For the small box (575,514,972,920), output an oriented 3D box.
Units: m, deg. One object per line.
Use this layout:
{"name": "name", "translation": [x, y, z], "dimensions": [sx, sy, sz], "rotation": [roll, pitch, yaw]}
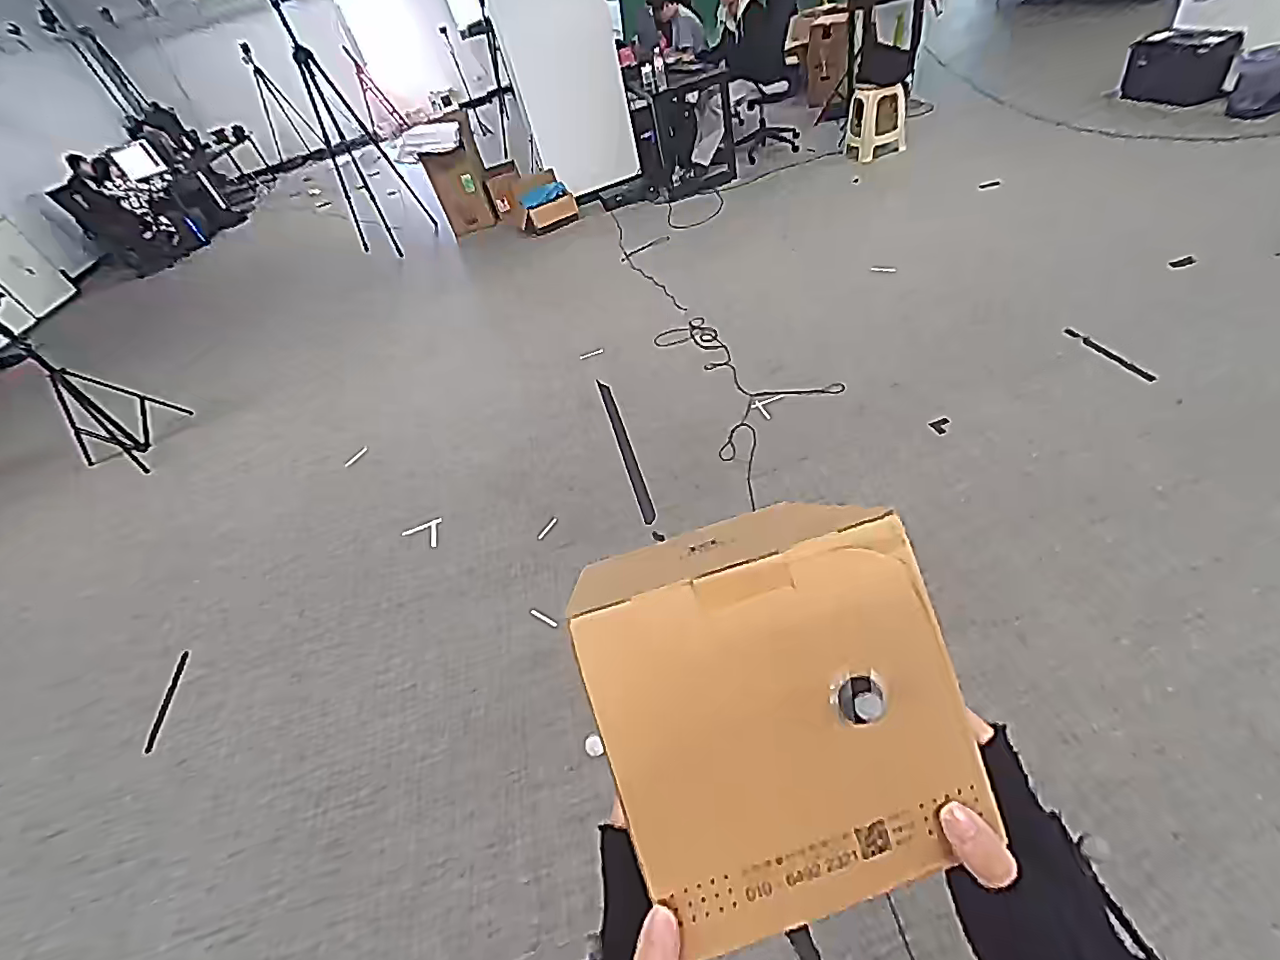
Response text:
{"name": "small box", "translation": [0.068, 0.130, 0.346], "dimensions": [0.168, 0.176, 0.179], "rotation": [-18, -1, -2]}
